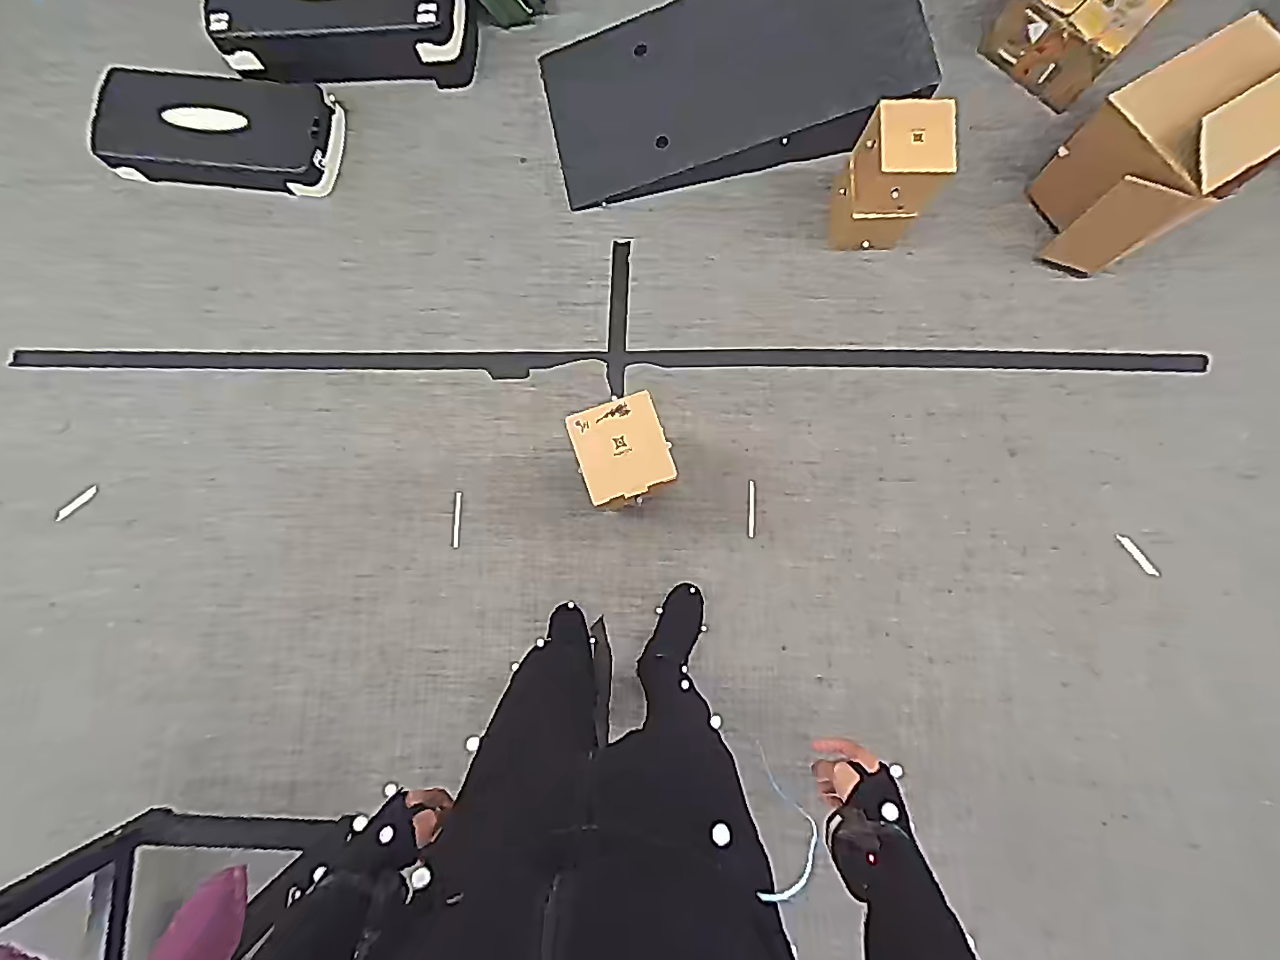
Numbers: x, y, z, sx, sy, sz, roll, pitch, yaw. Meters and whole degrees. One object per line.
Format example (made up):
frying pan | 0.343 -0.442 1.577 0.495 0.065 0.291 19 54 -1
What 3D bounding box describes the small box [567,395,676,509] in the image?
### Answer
small box | -0.031 -0.048 1.075 0.168 0.176 0.179 -18 85 -1
